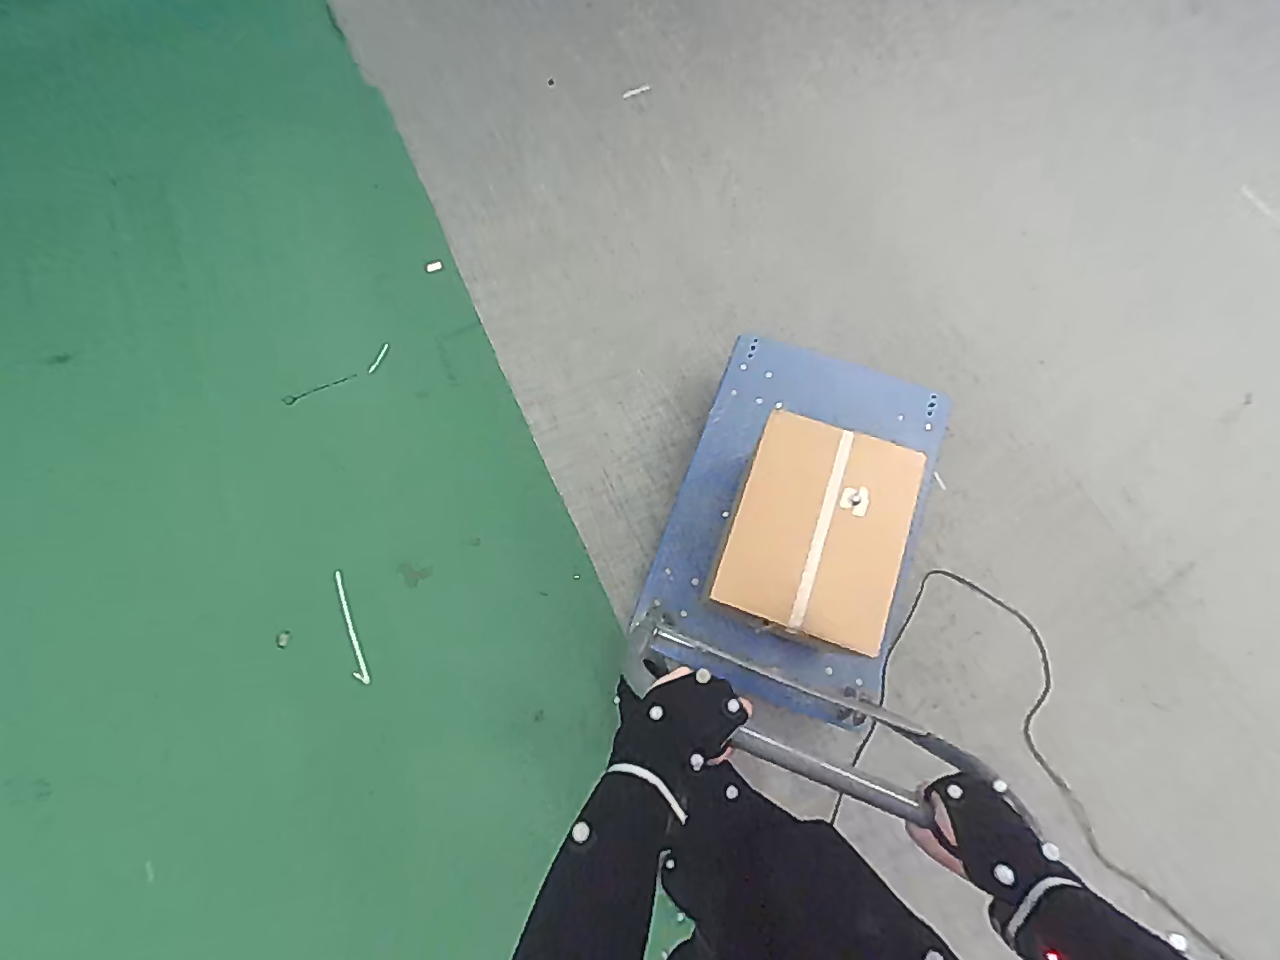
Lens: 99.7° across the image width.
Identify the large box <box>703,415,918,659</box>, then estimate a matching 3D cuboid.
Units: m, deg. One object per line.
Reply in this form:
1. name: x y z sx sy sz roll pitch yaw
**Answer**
1. large box: 0.345 0.136 1.170 0.320 0.320 0.408 19 76 7
